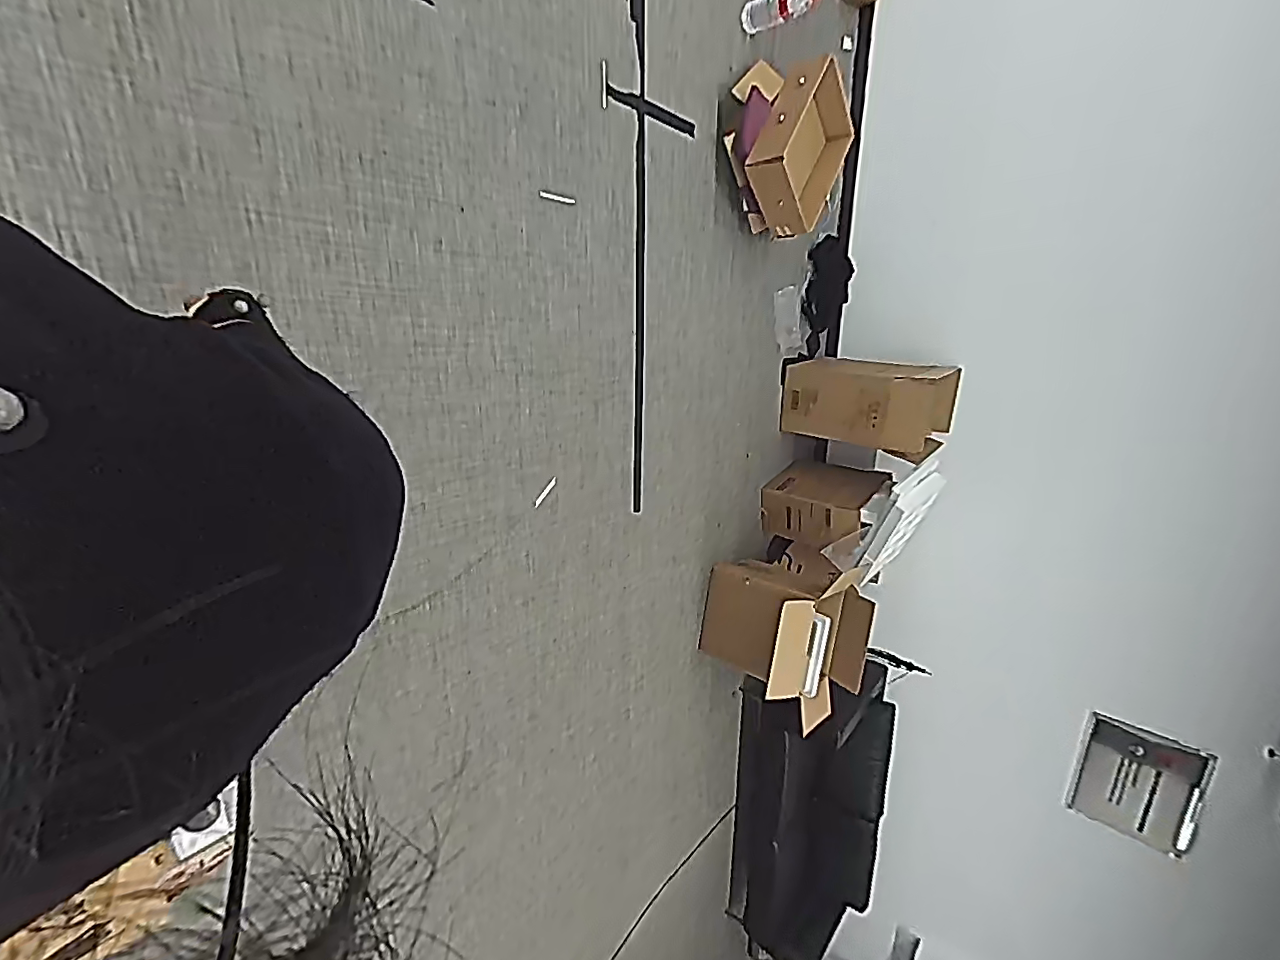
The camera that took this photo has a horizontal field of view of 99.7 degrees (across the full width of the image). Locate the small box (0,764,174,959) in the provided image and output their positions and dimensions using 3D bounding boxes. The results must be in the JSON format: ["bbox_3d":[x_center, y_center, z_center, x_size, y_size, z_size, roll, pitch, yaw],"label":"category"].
[{"bbox_3d":[-0.781,0.542,0.749,0.168,0.176,0.179,-17,110,-47],"label":"small box"}]
